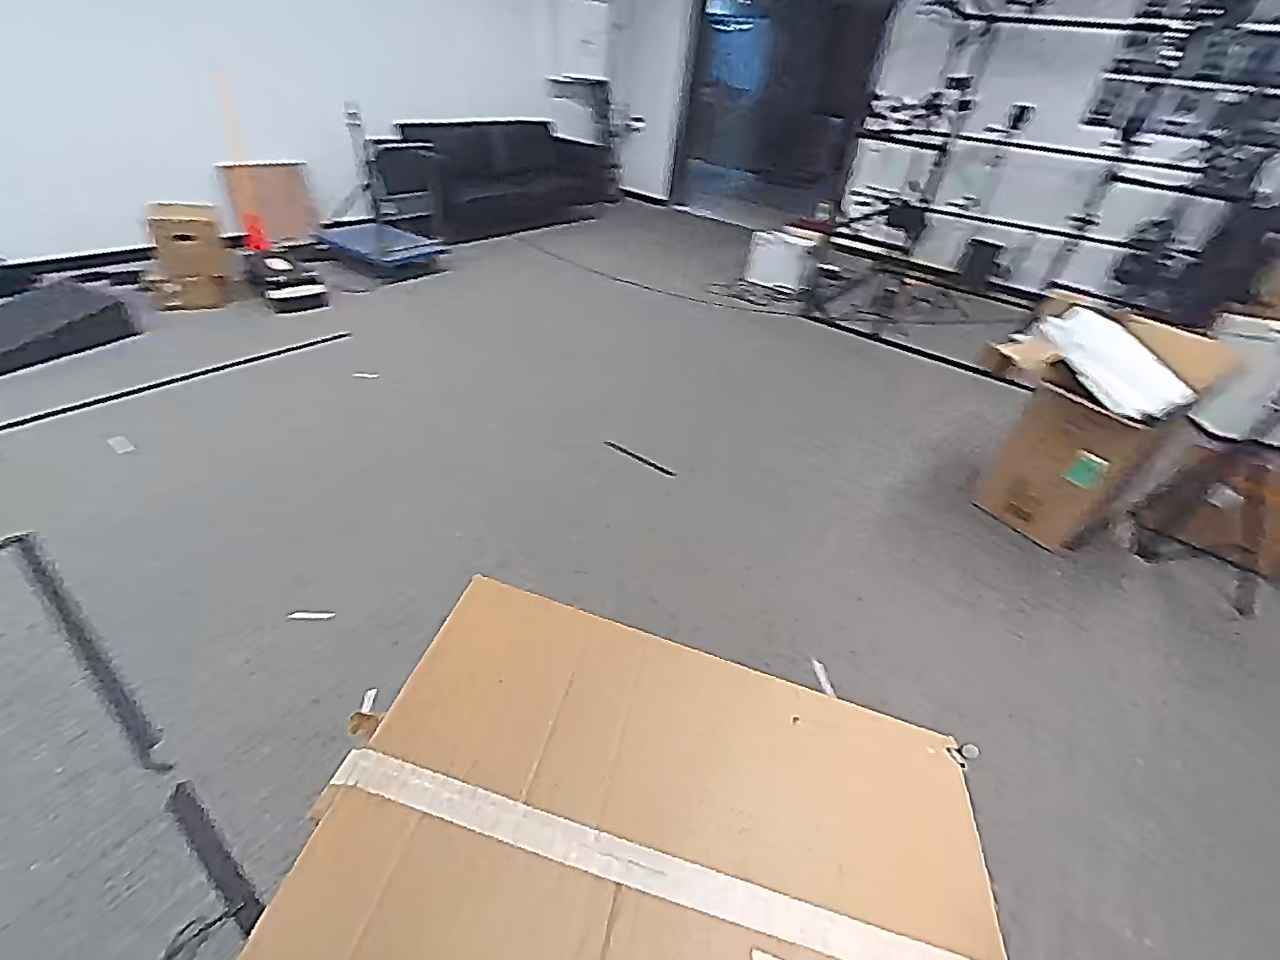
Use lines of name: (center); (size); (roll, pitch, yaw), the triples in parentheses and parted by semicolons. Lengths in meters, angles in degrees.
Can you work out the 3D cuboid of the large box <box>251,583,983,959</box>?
large box: (-0.018, 0.343, 0.420); (0.408, 0.320, 0.320); (19, 41, 0)
